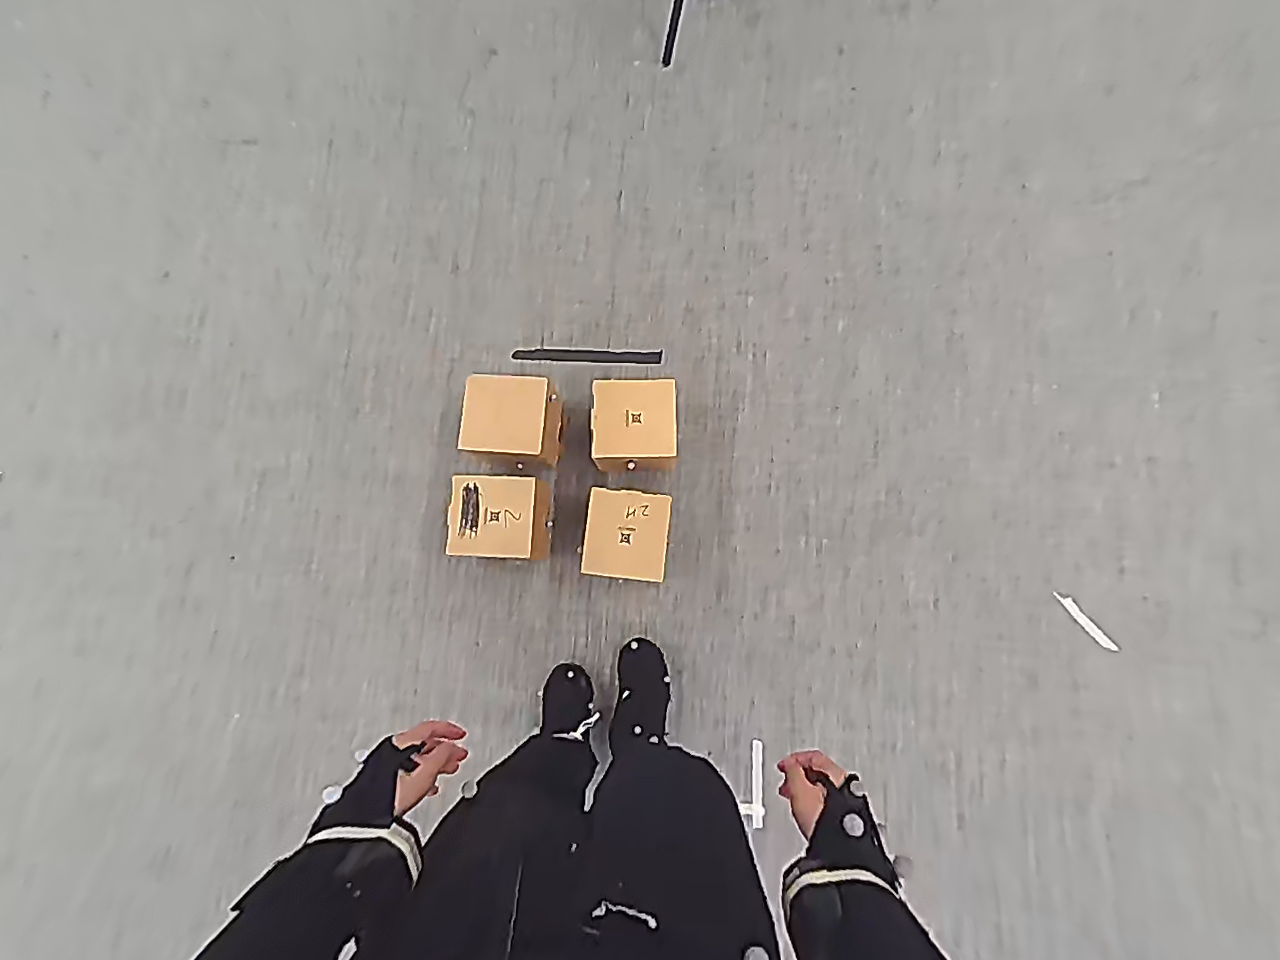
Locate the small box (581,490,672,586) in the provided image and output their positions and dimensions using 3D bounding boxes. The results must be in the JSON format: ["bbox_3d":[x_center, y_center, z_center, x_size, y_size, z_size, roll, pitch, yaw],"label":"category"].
[{"bbox_3d":[-0.022,0.125,1.157,0.168,0.176,0.179,6,82,3],"label":"small box"}]

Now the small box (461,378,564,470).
[{"bbox_3d":[-0.277,-0.120,1.204,0.179,0.176,0.168,4,81,3],"label":"small box"}]
